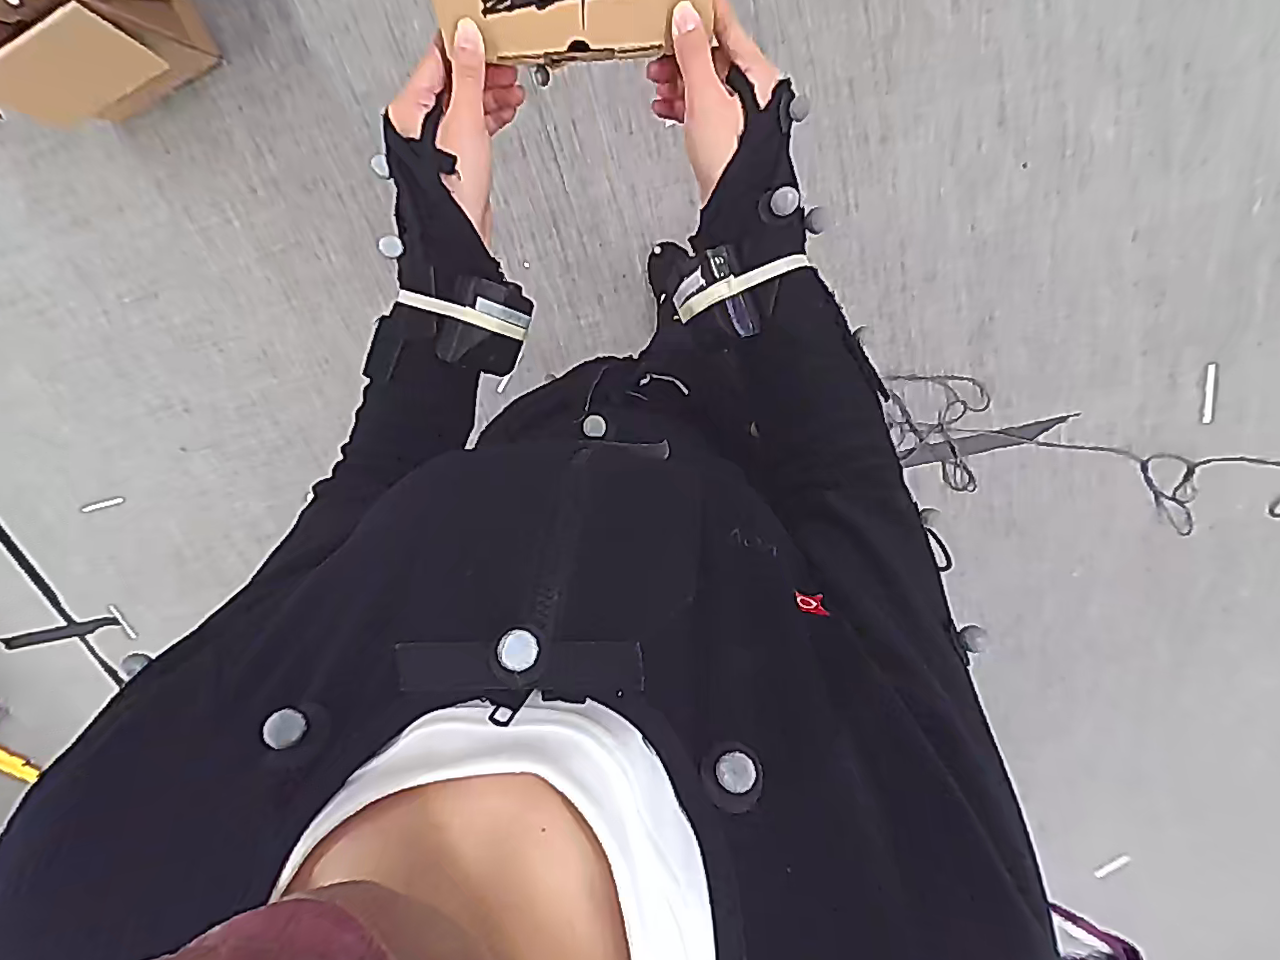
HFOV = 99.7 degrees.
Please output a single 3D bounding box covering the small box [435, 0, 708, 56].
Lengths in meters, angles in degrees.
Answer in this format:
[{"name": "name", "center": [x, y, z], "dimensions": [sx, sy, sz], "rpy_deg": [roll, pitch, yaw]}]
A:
[{"name": "small box", "center": [-0.038, -0.382, 0.341], "dimensions": [0.168, 0.176, 0.179], "rpy_deg": [-1, 126, 4]}]
